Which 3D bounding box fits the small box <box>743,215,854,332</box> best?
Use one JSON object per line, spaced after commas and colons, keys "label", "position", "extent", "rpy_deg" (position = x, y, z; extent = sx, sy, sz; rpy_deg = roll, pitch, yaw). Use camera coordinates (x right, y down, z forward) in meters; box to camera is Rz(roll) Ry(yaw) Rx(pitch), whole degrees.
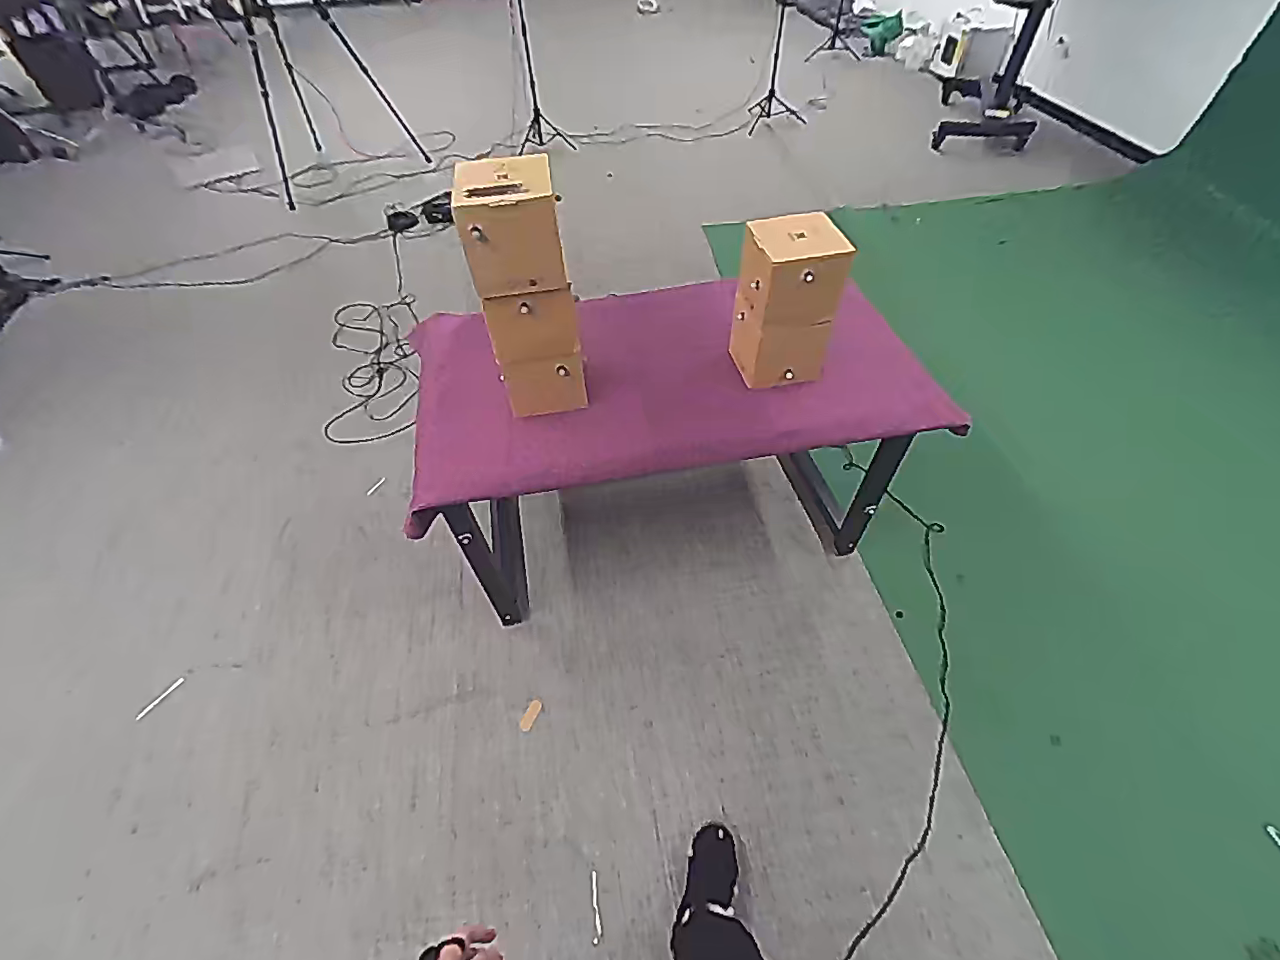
{"label": "small box", "position": [0.326, -0.437, 1.157], "extent": [0.179, 0.176, 0.168], "rpy_deg": [-10, 53, -4]}

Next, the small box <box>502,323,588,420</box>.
{"label": "small box", "position": [-0.217, -0.261, 1.255], "extent": [0.179, 0.176, 0.168], "rpy_deg": [-9, 51, -5]}

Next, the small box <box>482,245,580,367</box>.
{"label": "small box", "position": [-0.222, -0.359, 1.126], "extent": [0.179, 0.176, 0.168], "rpy_deg": [-10, 52, -4]}

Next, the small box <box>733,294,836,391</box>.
{"label": "small box", "position": [0.332, -0.334, 1.285], "extent": [0.179, 0.176, 0.168], "rpy_deg": [-11, 51, -6]}
